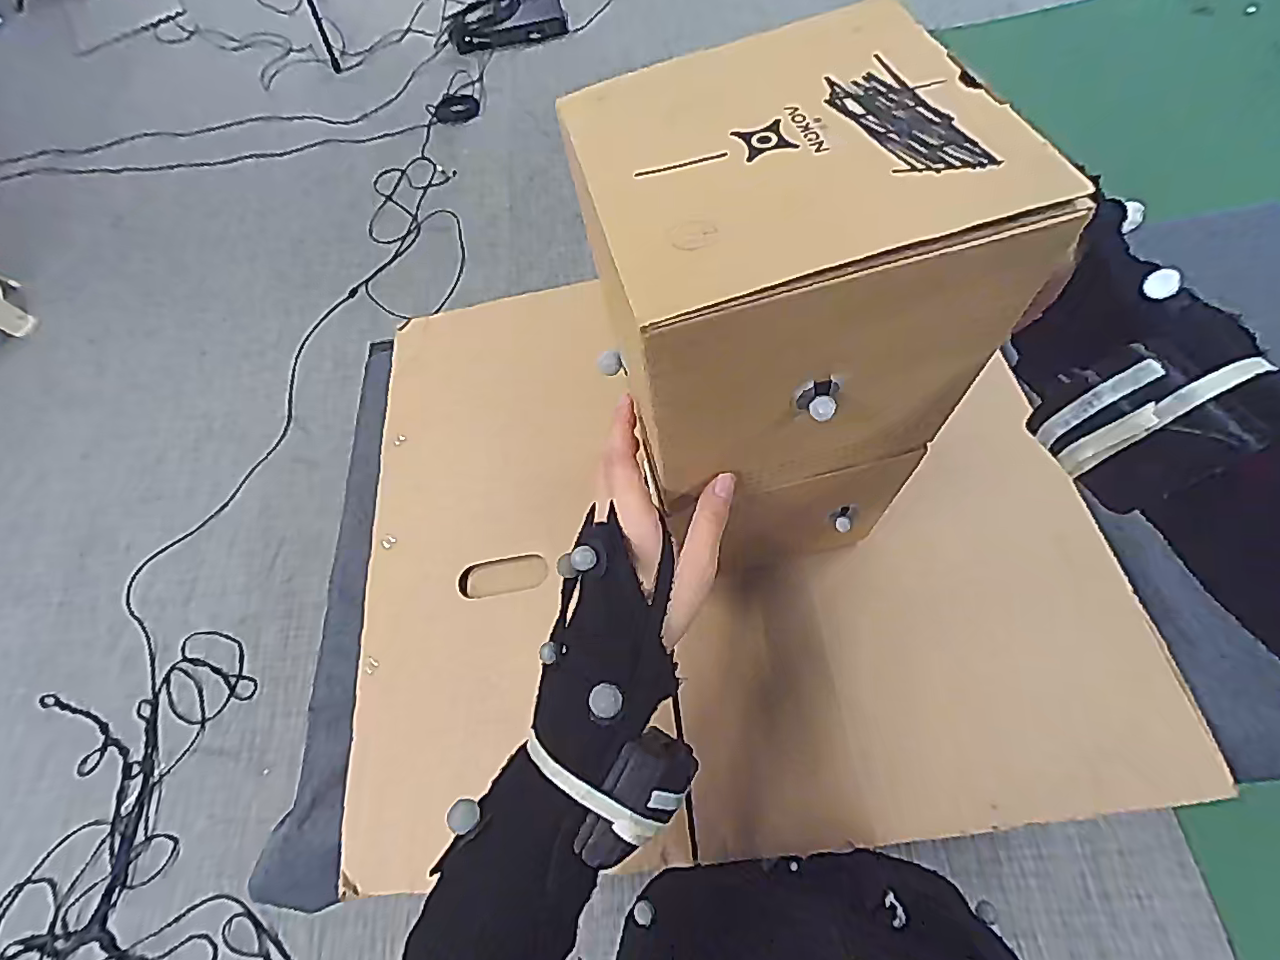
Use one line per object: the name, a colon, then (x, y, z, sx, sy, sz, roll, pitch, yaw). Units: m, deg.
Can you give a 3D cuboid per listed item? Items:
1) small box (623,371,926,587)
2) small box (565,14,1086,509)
small box: (0.091, -0.027, 0.448, 0.179, 0.176, 0.168, -15, 61, 0)
small box: (0.073, -0.105, 0.304, 0.179, 0.176, 0.168, -16, 62, 0)
